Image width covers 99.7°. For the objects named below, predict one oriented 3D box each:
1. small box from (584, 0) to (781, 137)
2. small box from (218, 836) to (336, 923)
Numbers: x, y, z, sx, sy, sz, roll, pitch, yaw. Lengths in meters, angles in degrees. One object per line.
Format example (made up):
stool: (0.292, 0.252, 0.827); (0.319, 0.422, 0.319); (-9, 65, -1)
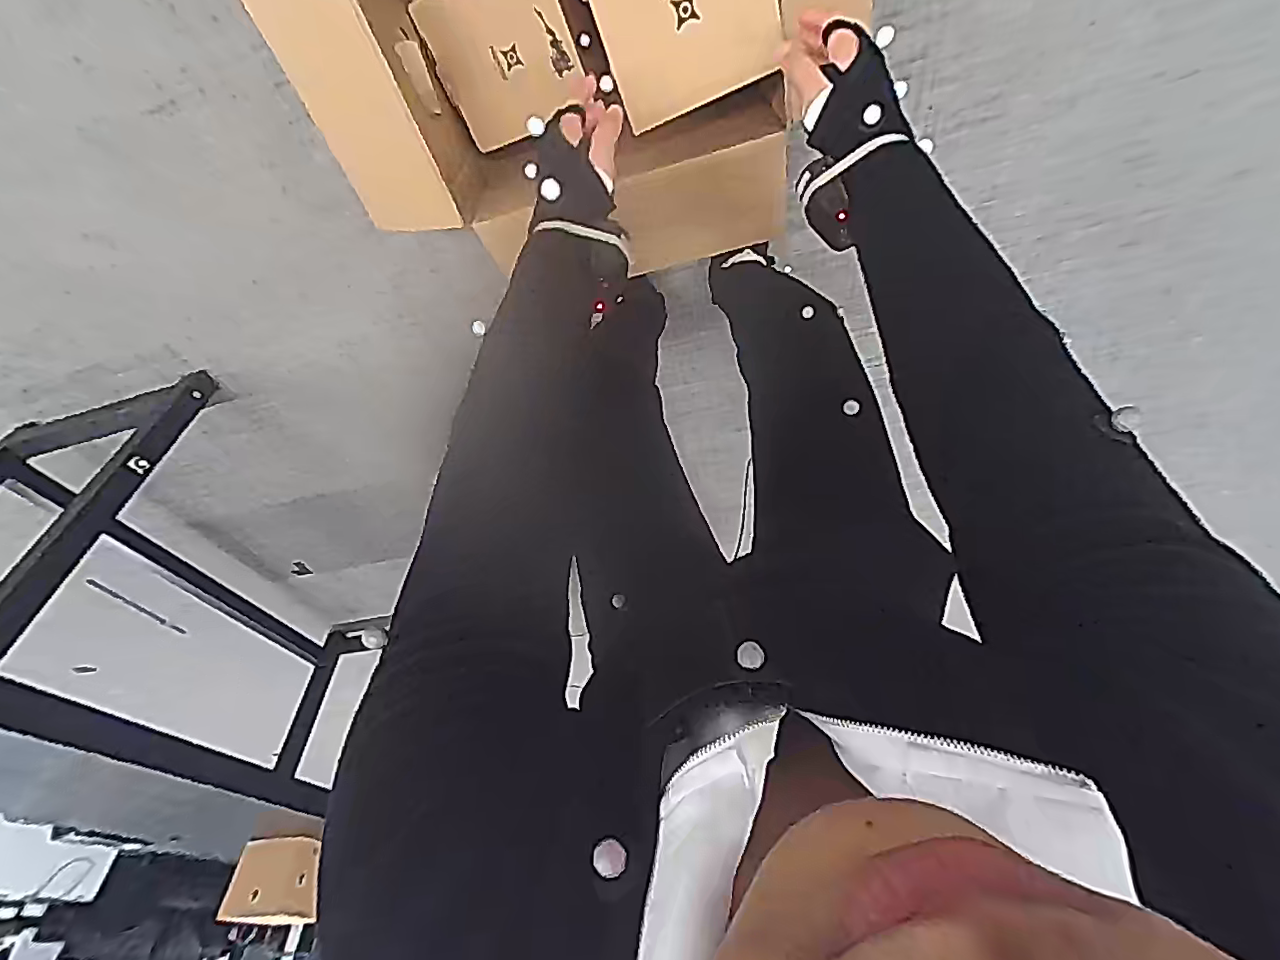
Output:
small box: (0.031, -0.496, 0.548); (0.168, 0.176, 0.179); (-18, 136, 12)
small box: (-0.935, 1.050, 1.420); (0.179, 0.176, 0.168); (-11, 136, 12)
